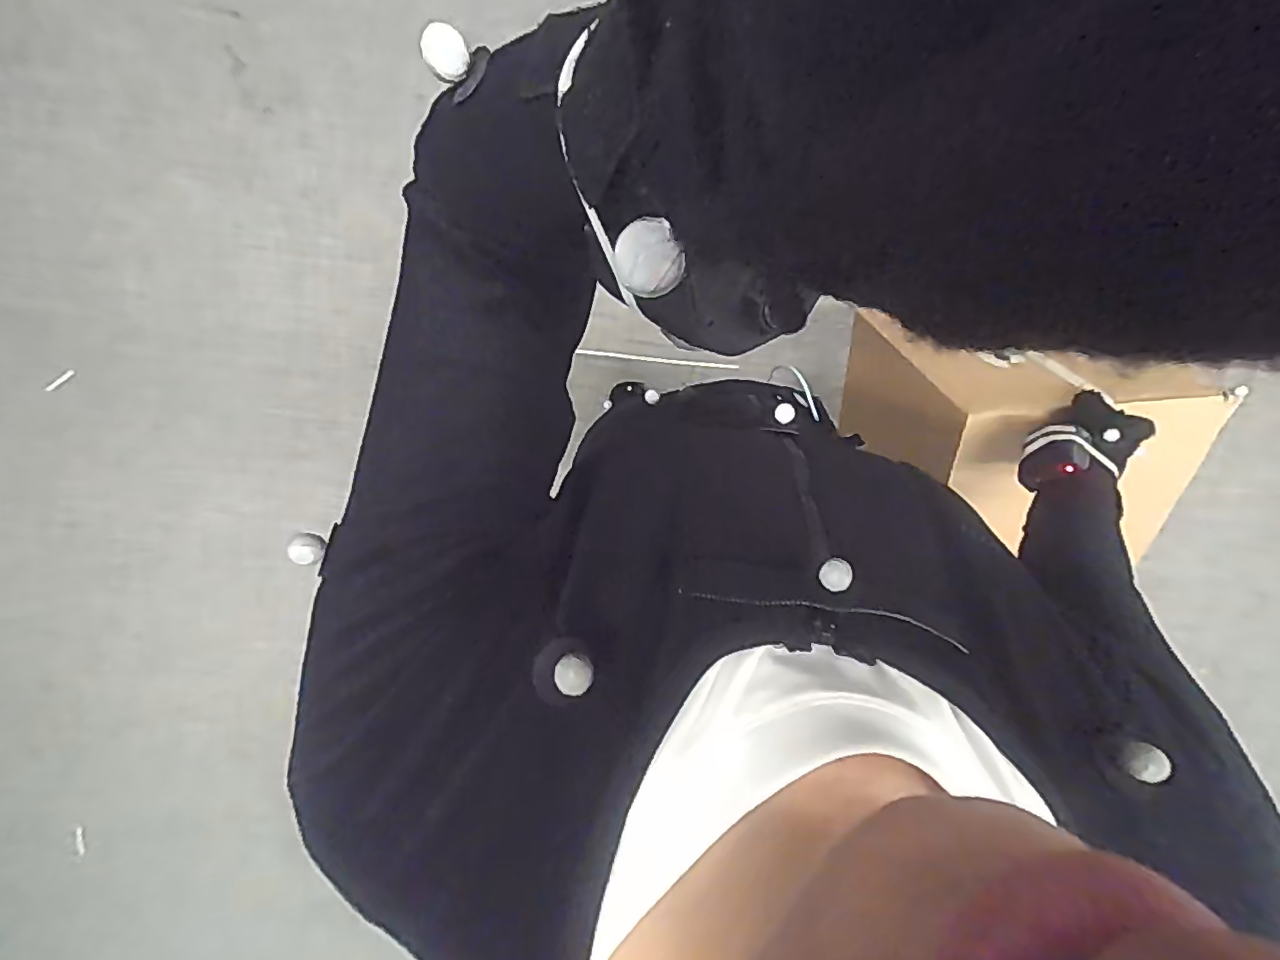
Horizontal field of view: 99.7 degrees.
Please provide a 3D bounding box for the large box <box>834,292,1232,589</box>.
[{"bbox_3d":[0.548,-0.082,0.882,0.320,0.408,0.320,-6,126,2],"label":"large box"}]
